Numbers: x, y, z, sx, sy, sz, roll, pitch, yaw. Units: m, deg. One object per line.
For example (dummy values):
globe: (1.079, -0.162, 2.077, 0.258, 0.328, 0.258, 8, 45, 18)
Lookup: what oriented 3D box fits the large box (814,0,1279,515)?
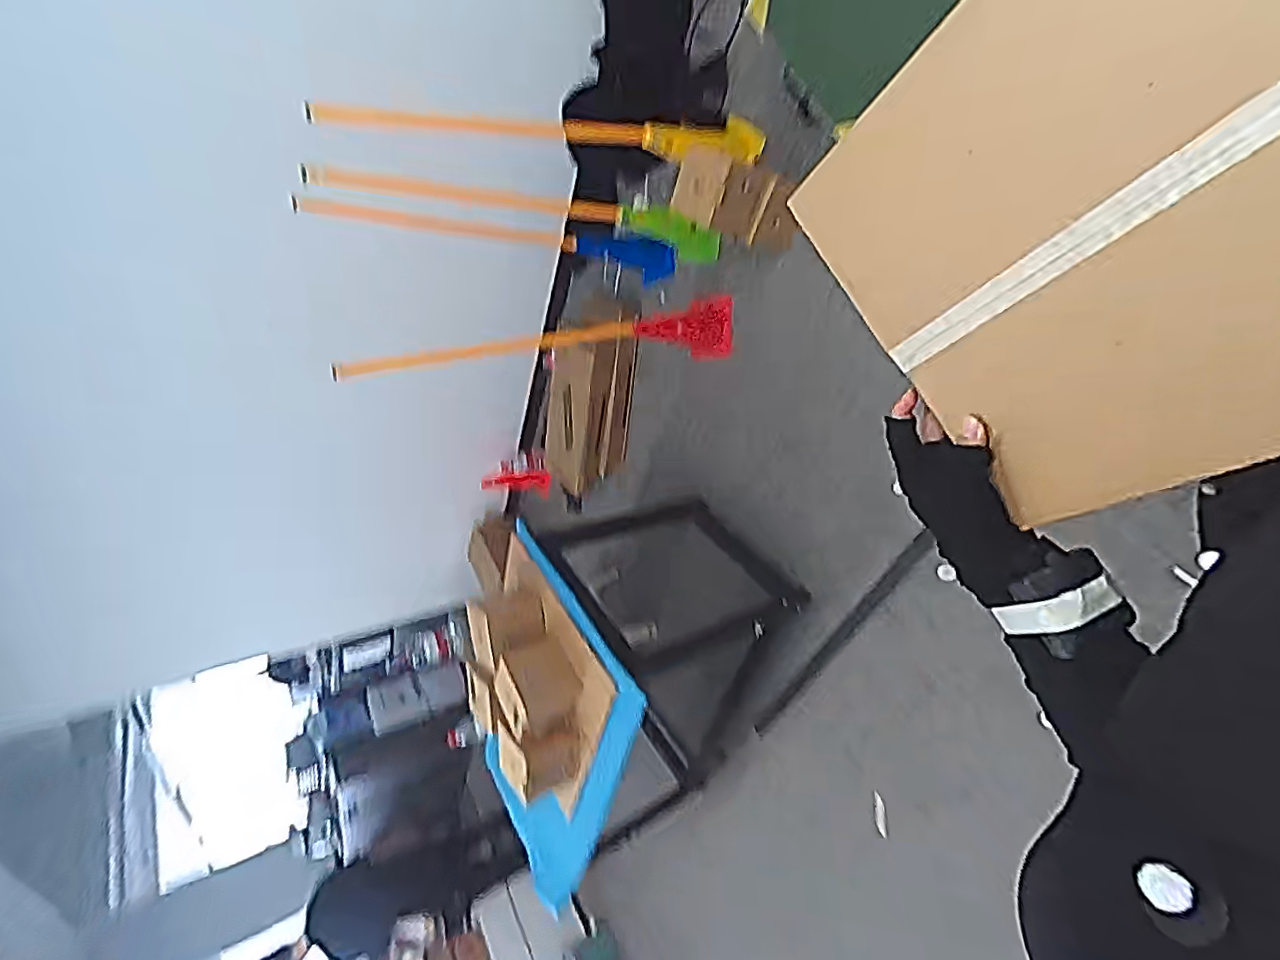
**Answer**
large box: (0.413, -0.229, 0.357, 0.320, 0.320, 0.408, 58, 143, 5)
